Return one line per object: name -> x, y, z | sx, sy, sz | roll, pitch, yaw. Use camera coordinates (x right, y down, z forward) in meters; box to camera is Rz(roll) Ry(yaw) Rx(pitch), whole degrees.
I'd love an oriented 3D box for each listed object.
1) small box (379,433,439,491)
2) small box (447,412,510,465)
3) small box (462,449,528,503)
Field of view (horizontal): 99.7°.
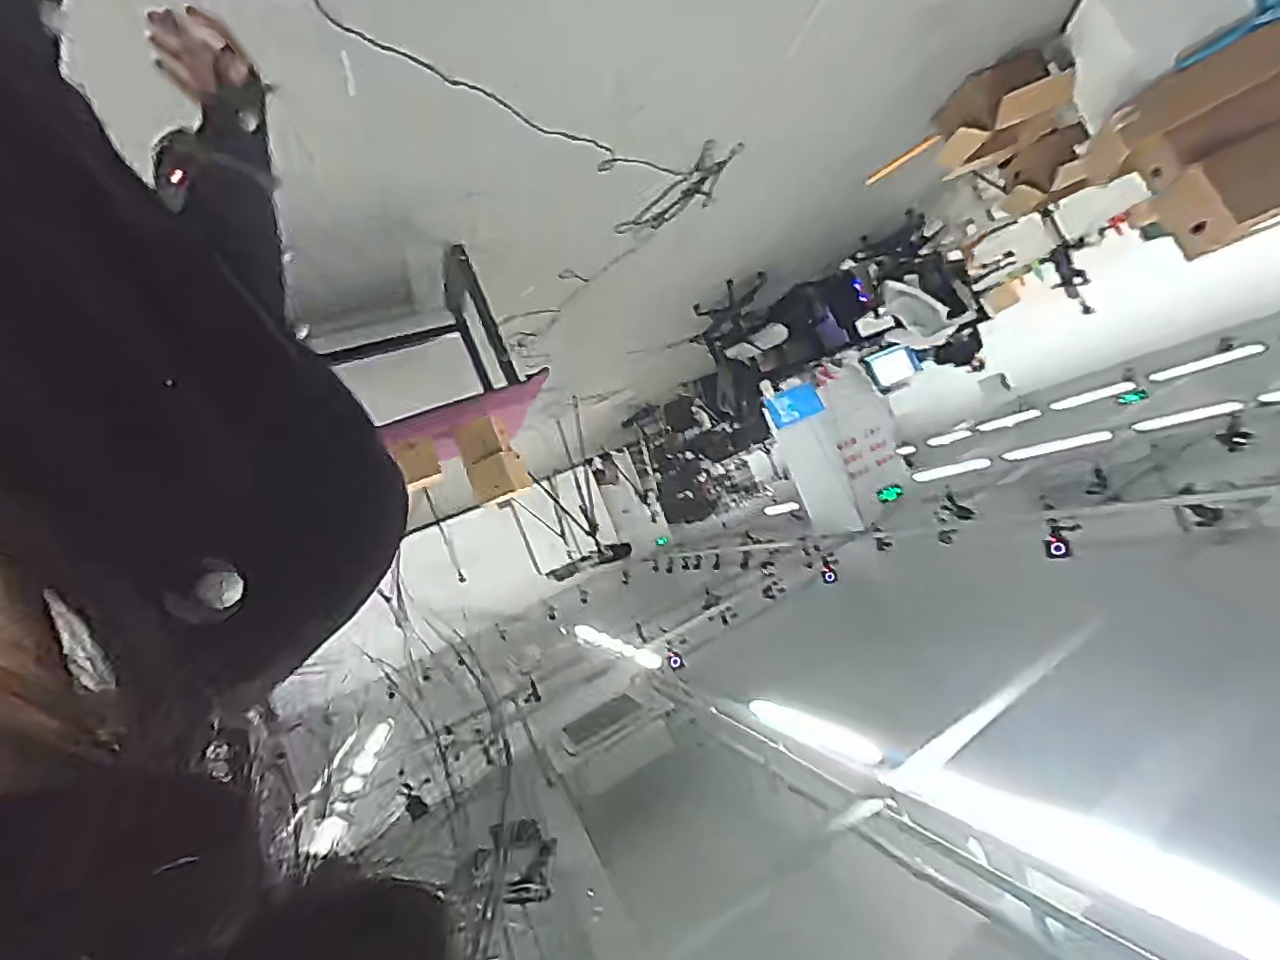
small box -> -0.904, -0.072, 2.115 | 0.168, 0.176, 0.179 | -23, 179, -24
small box -> -0.665, -0.169, 2.227 | 0.179, 0.176, 0.168 | -23, 178, 2
small box -> -0.594, -0.021, 2.209 | 0.179, 0.176, 0.168 | -22, 179, 14
